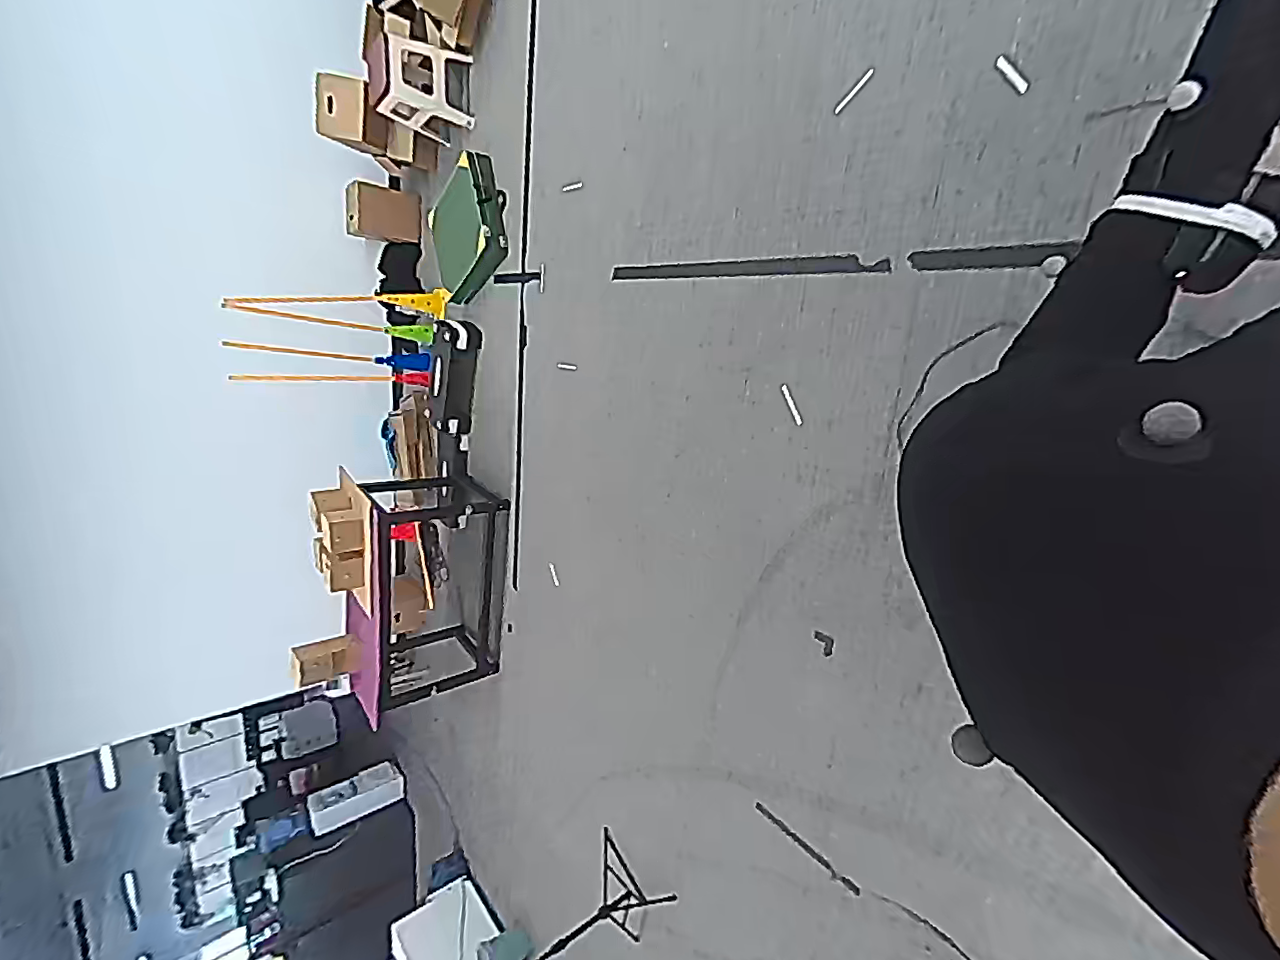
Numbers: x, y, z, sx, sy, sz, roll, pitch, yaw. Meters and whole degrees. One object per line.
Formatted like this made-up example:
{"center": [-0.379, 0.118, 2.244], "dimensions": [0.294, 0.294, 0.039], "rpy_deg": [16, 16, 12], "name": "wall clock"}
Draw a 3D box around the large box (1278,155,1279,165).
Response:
{"center": [0.671, -0.326, 0.254], "dimensions": [0.408, 0.320, 0.320], "rpy_deg": [31, 129, 38], "name": "large box"}
